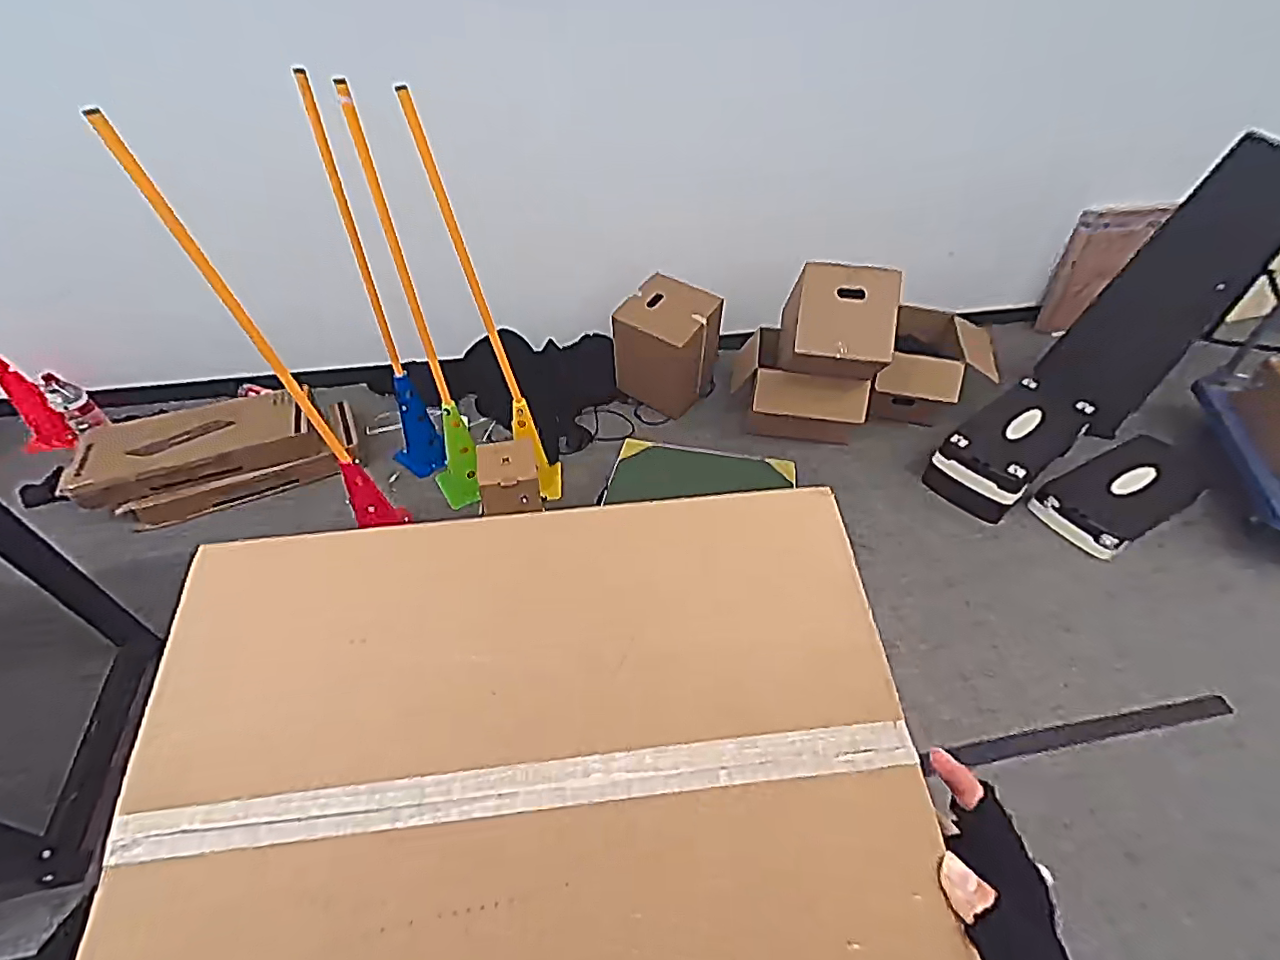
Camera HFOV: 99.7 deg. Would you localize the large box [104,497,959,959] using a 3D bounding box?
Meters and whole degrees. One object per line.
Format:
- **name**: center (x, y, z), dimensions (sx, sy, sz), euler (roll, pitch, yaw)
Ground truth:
- **large box**: center (-0.059, 0.236, 0.417), dimensions (0.408, 0.320, 0.320), euler (-5, 62, -3)
